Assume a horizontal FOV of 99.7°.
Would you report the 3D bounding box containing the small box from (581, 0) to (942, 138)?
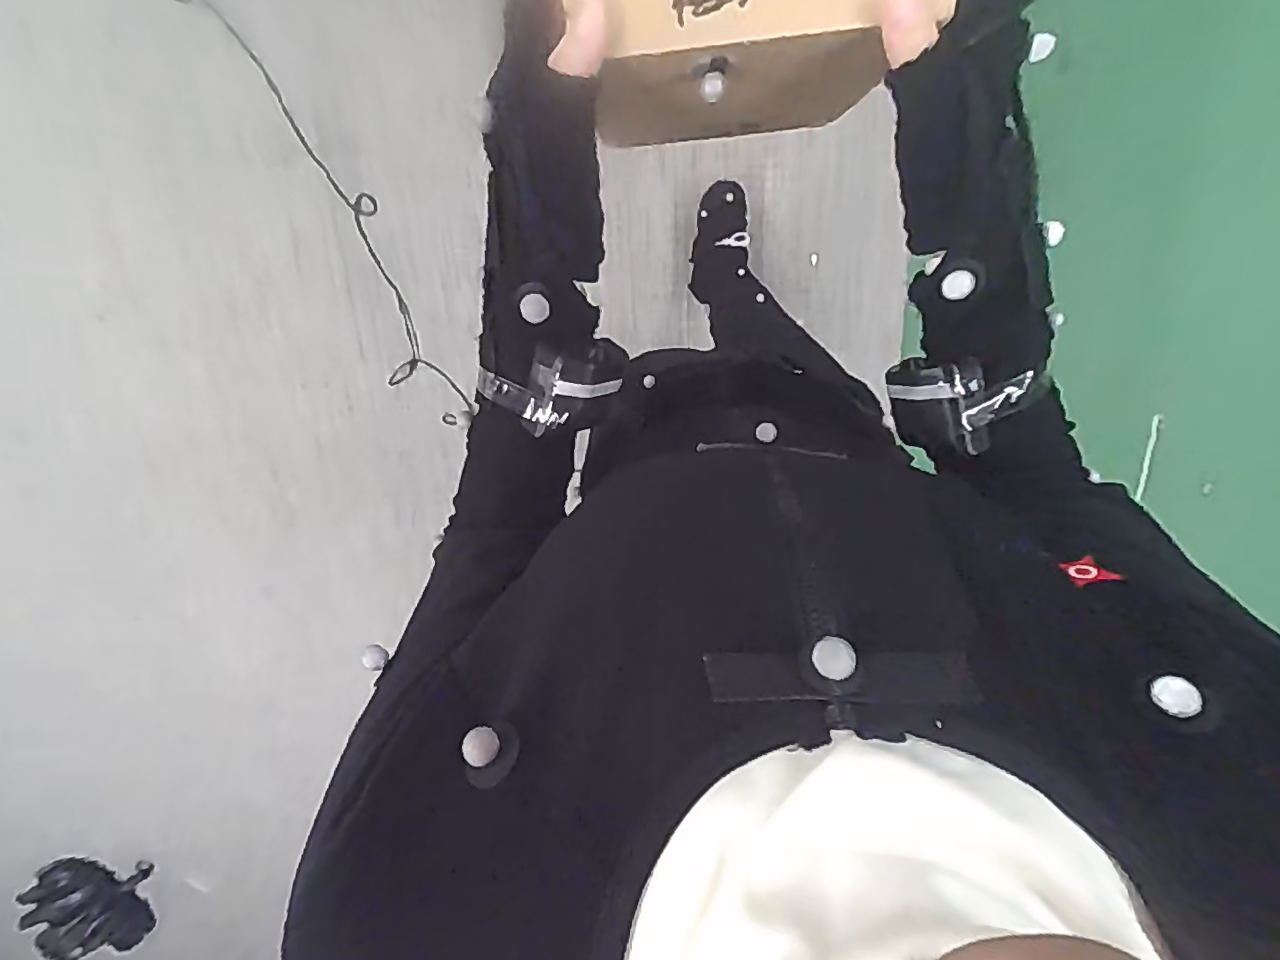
[{"bbox_3d":[0.046,-0.309,0.283,0.168,0.176,0.179,-7,110,3],"label":"small box"}]
